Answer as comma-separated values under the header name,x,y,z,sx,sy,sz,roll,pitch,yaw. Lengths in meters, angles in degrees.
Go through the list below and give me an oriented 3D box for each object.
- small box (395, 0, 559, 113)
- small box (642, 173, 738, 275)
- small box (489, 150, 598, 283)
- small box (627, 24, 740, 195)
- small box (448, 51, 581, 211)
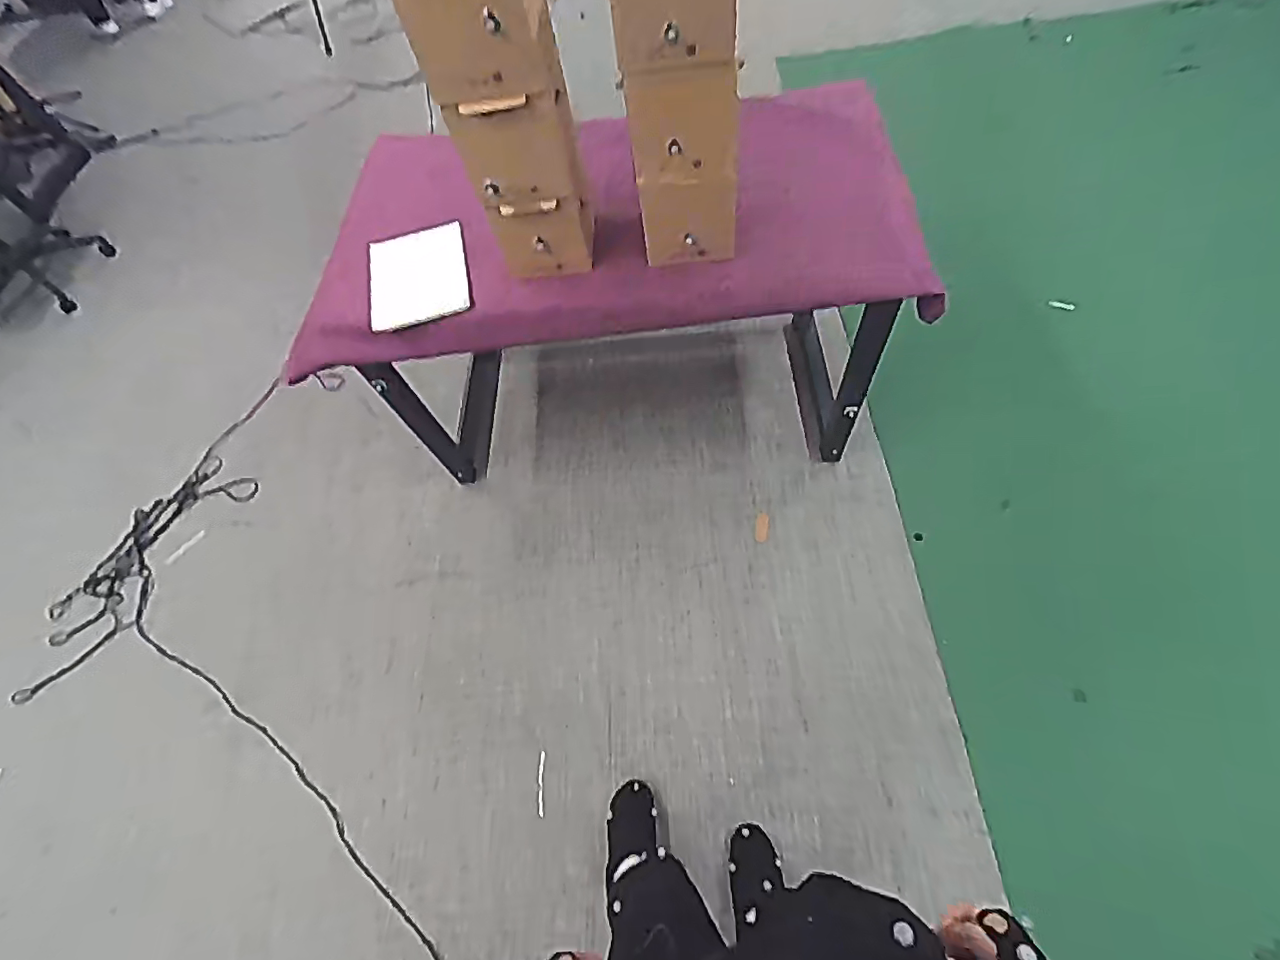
name,x,y,z,sx,sy,sz,roll,pitch,yaw
small box,-0.219,-0.652,0.769,0.168,0.176,0.179,-2,61,6
small box,0.094,-0.518,1.026,0.168,0.176,0.179,-3,60,7
small box,-0.178,-0.505,1.060,0.168,0.176,0.179,-3,62,6
small box,0.072,-0.602,0.889,0.168,0.176,0.179,-3,61,6
small box,-0.199,-0.578,0.913,0.168,0.176,0.179,-3,60,6
